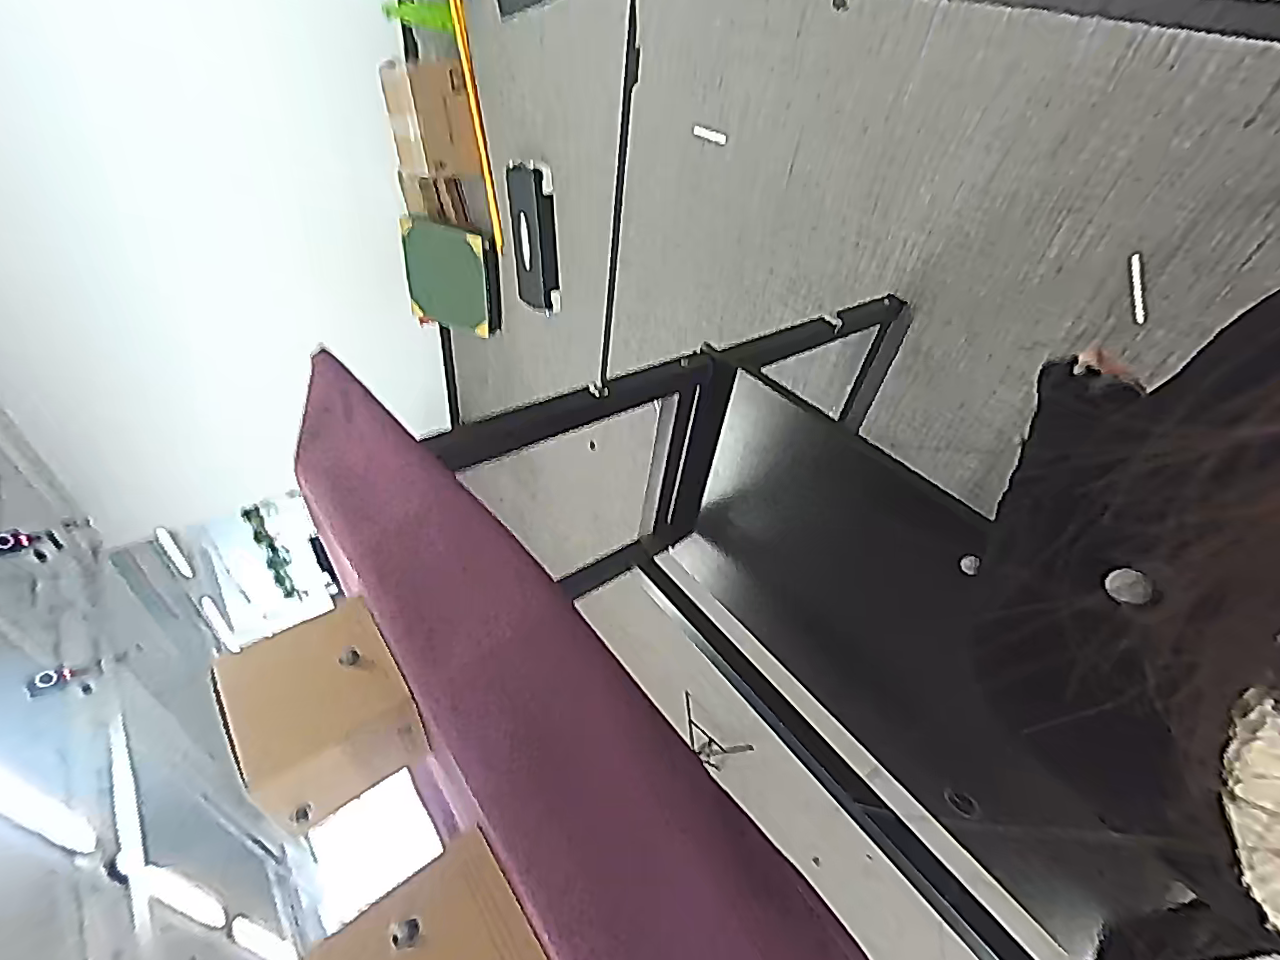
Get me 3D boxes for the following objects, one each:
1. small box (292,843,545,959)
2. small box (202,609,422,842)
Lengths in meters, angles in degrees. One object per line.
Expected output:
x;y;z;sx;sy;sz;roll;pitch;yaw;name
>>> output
-0.185;0.481;0.500;0.179;0.176;0.168;38;139;36;small box
-0.386;0.282;0.657;0.179;0.176;0.168;43;142;32;small box
